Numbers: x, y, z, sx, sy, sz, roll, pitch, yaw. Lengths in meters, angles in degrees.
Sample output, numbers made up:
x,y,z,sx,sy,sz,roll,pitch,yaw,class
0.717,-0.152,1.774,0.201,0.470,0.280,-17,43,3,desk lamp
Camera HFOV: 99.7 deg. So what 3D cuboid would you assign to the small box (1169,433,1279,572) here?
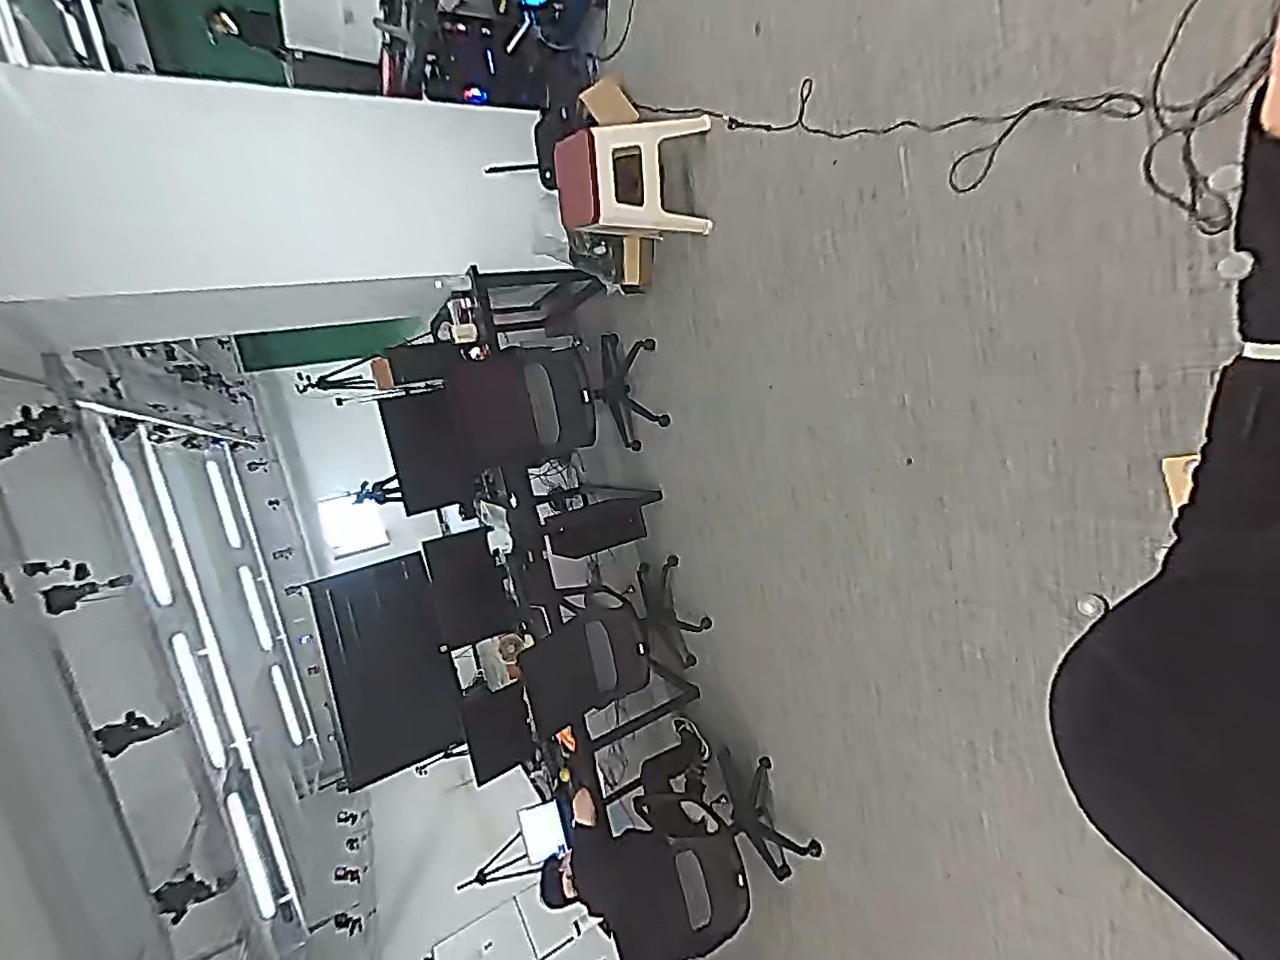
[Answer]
x,y,z,sx,sy,sz,roll,pitch,yaw,class
0.932,0.025,0.792,0.168,0.176,0.179,-12,94,63,small box
